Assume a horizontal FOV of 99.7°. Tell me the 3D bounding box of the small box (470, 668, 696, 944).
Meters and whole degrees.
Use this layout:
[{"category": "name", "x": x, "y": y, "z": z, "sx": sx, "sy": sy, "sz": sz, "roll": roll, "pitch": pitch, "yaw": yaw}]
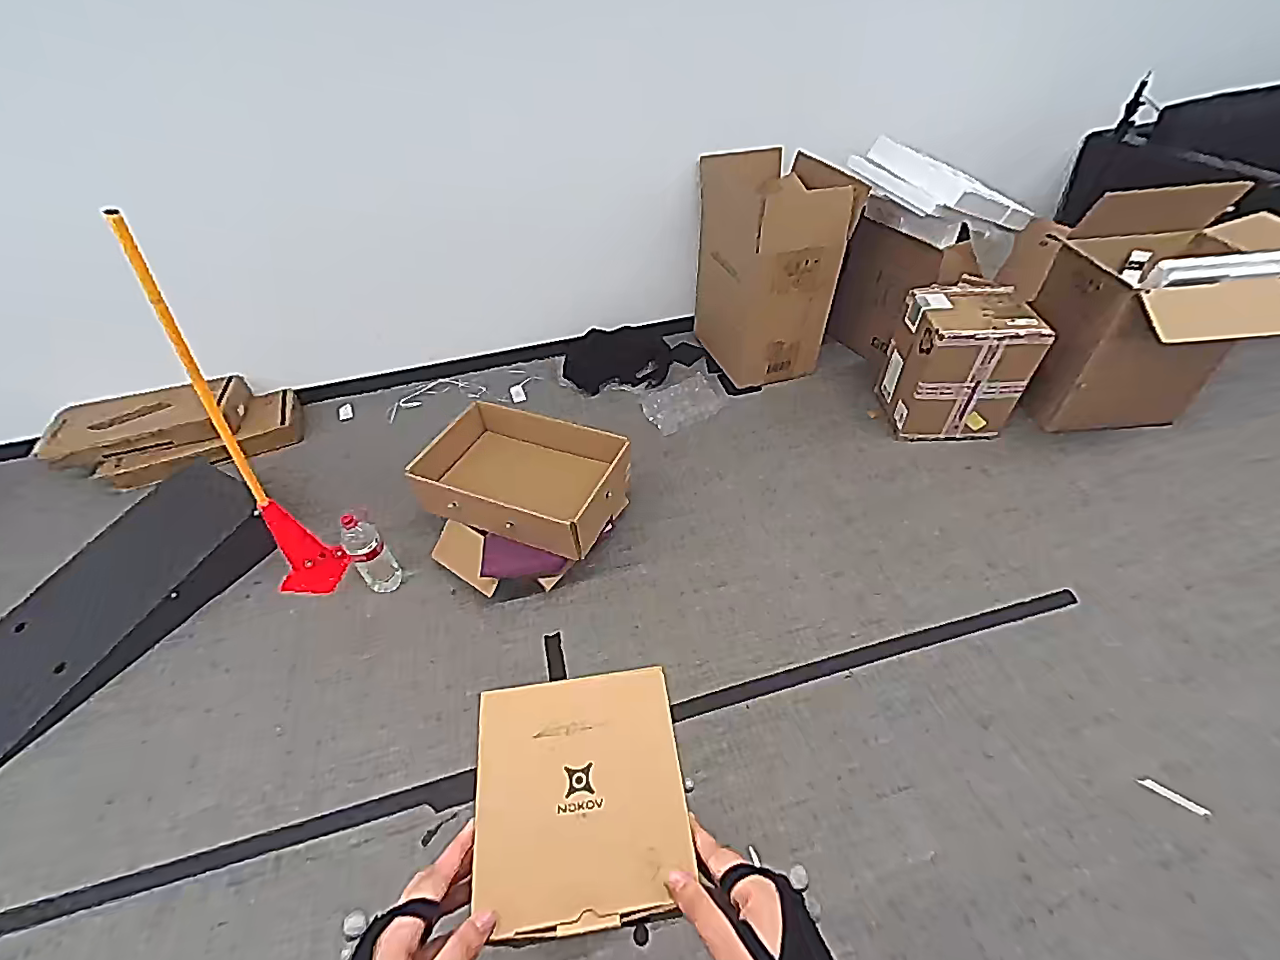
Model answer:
[{"category": "small box", "x": -0.049, "y": 0.298, "z": 0.495, "sx": 0.168, "sy": 0.176, "sz": 0.179, "roll": -6, "pitch": 48, "yaw": -6}]
